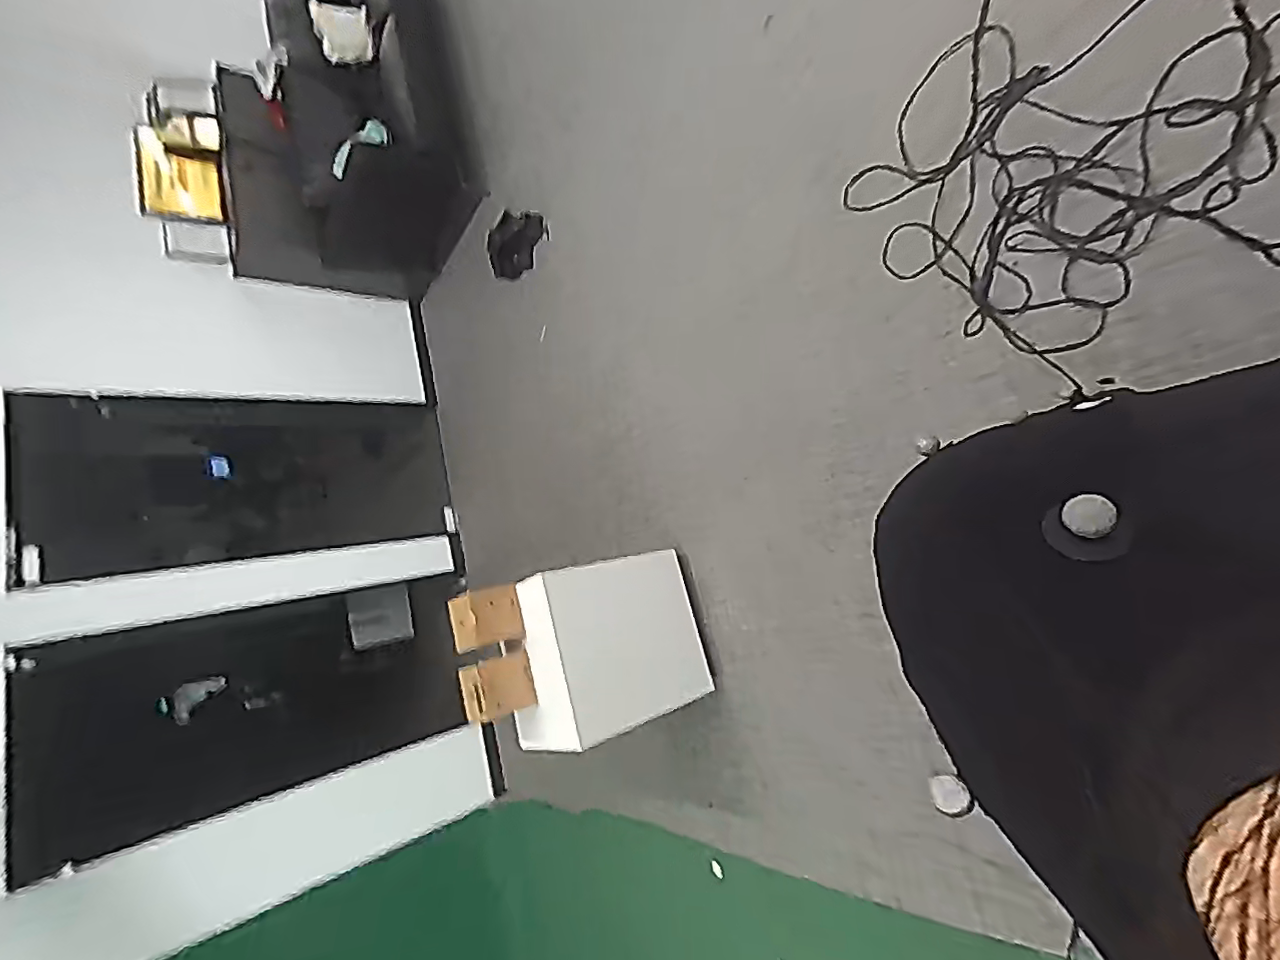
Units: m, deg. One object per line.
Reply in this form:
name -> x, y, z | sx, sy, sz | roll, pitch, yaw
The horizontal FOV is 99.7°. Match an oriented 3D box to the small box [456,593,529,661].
small box -> -0.471, 0.472, 1.748 | 0.179, 0.176, 0.168 | -32, 69, 48
